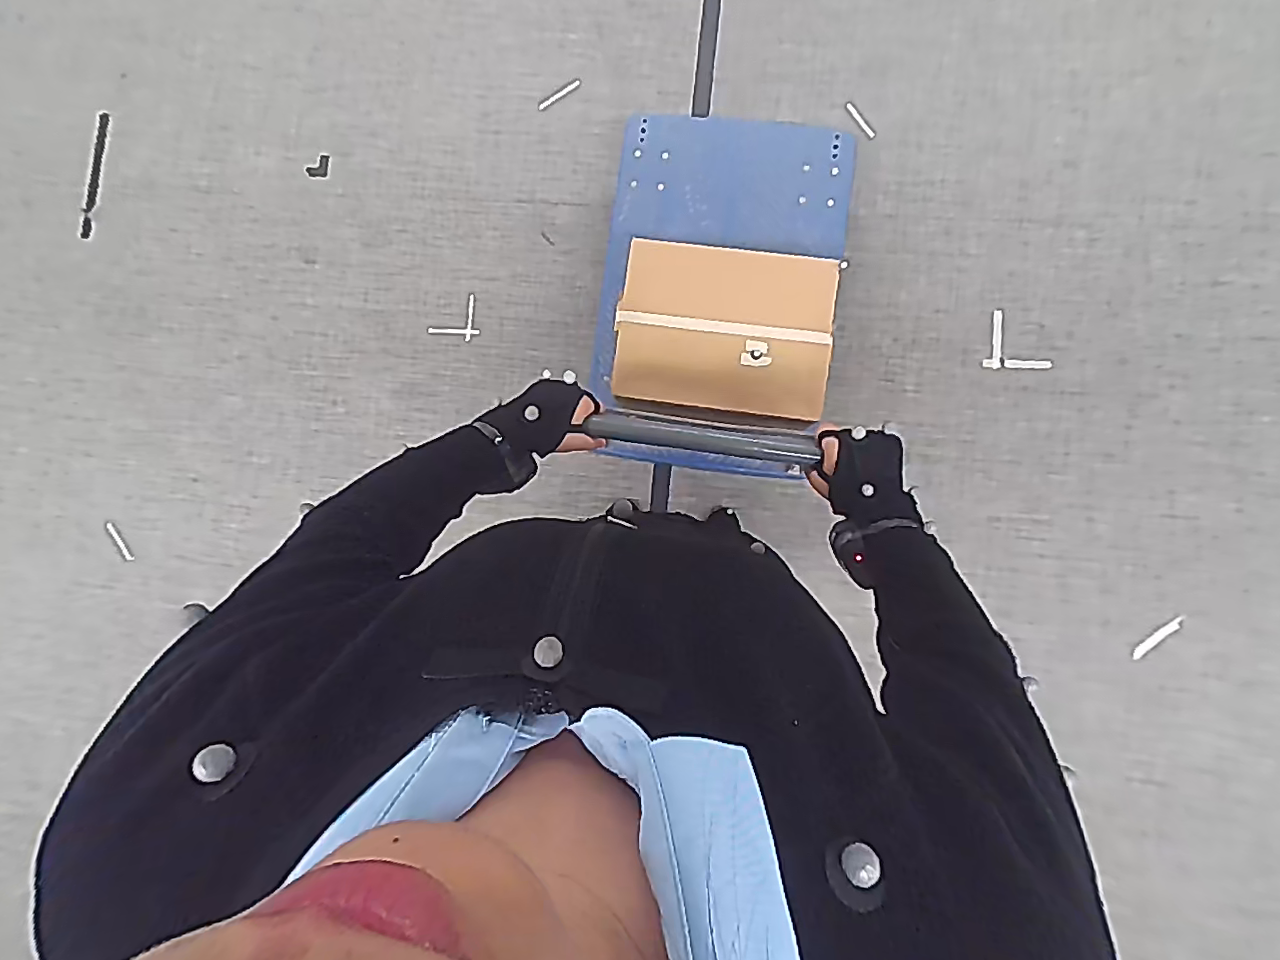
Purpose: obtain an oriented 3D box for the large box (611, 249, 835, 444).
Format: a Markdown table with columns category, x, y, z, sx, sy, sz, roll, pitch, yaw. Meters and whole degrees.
| category | x | y | z | sx | sy | sz | roll | pitch | yaw |
| --- | --- | --- | --- | --- | --- | --- | --- | --- | --- |
| large box | 0.164 | -0.269 | 1.184 | 0.408 | 0.320 | 0.320 | 8 | 89 | 3 |
